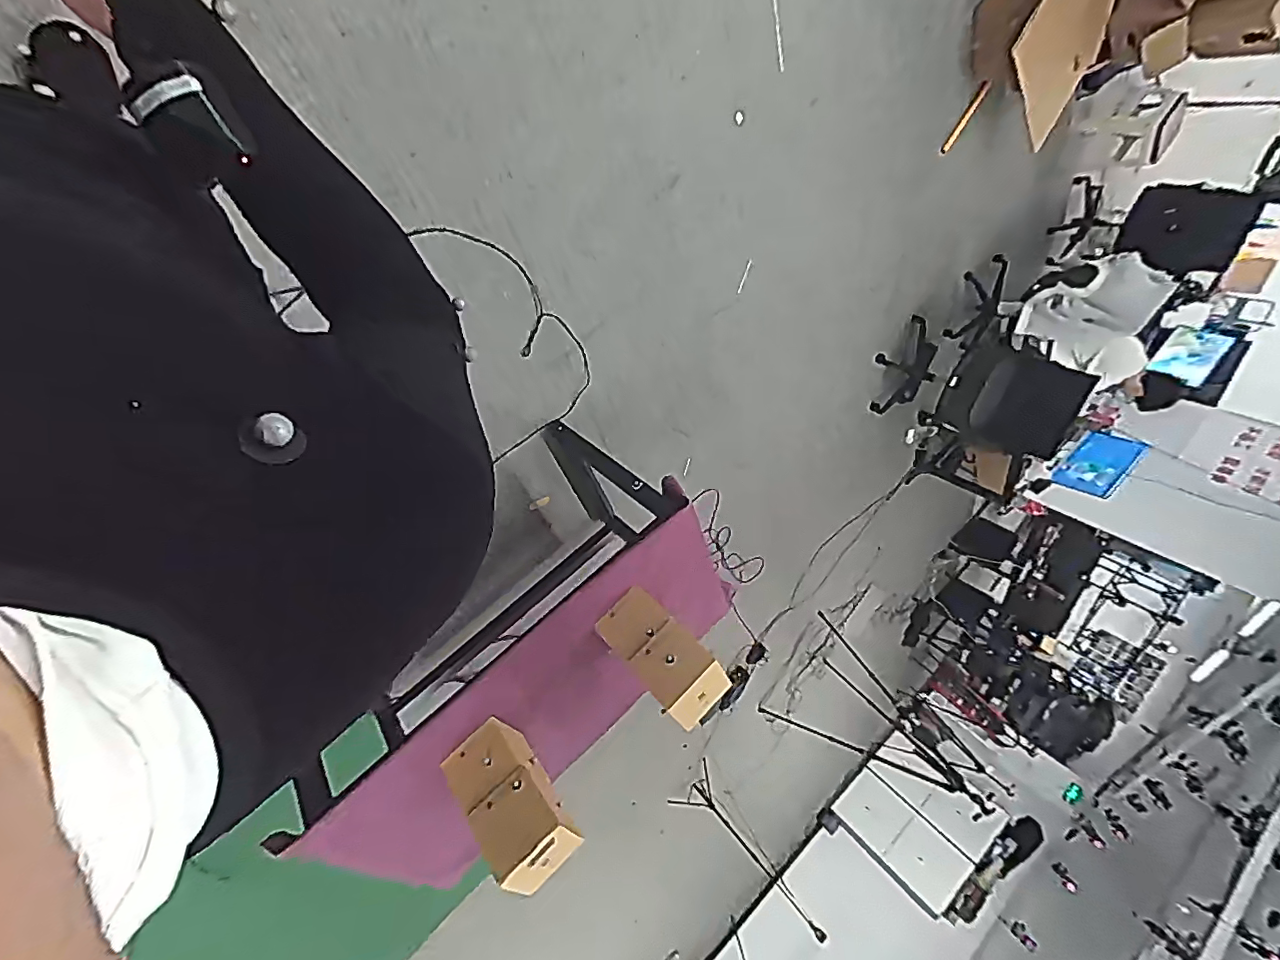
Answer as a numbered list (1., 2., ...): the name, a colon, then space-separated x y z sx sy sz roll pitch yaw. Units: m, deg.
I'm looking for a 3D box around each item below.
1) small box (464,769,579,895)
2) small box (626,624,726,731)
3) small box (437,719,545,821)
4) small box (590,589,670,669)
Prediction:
1. small box: -0.275 0.804 1.246 0.168 0.176 0.179 -39 139 -18
2. small box: 0.089 0.496 1.378 0.168 0.176 0.179 -42 138 -13
3. small box: -0.375 0.736 1.358 0.168 0.176 0.179 -41 139 -16
4. small box: -0.007 0.433 1.499 0.168 0.176 0.179 -44 139 -13
